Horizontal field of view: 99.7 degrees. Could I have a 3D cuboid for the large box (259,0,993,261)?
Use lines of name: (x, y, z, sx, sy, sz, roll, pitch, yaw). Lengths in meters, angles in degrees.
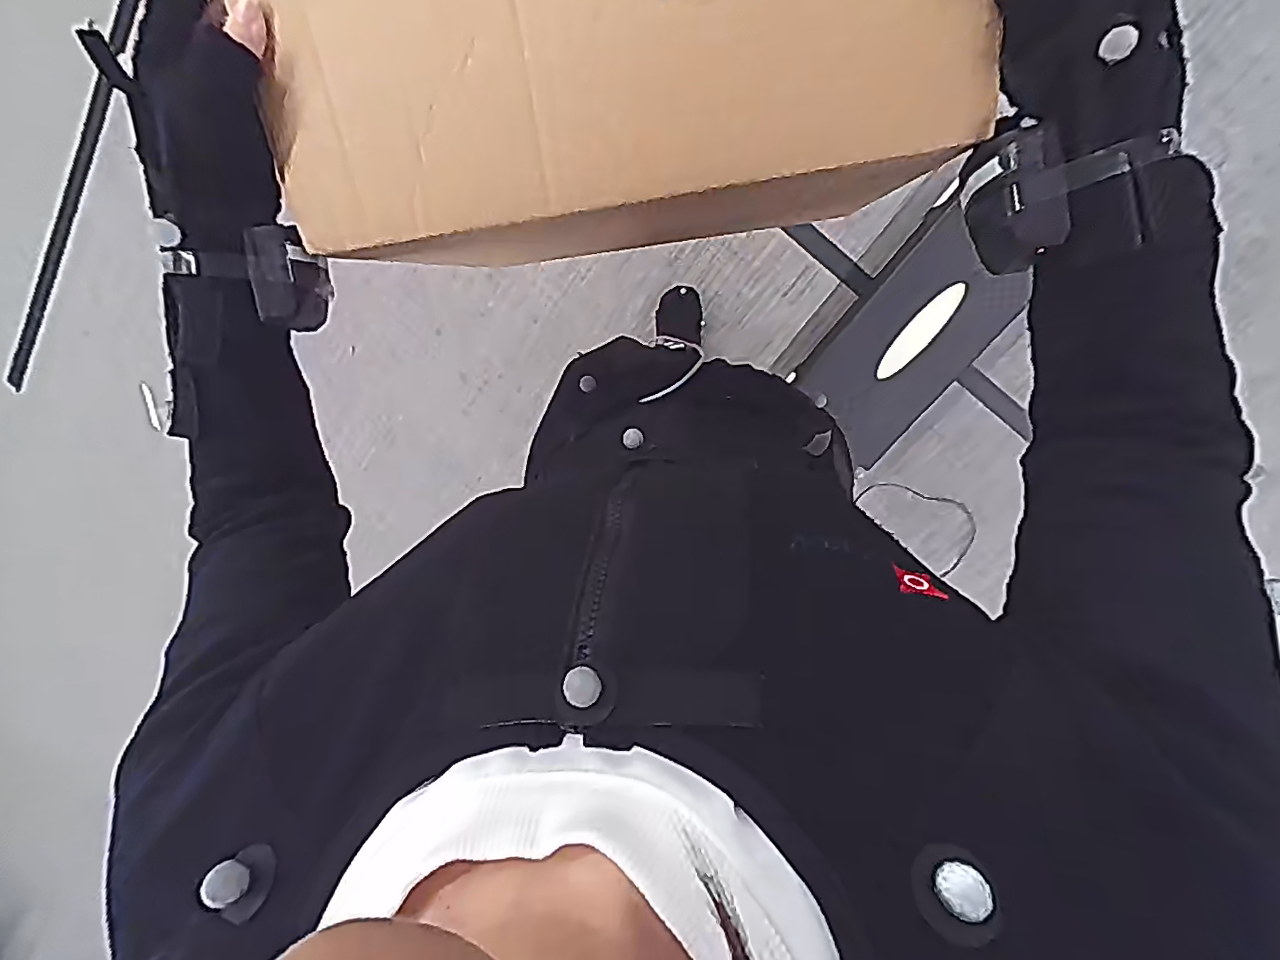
large box: (-0.012, -0.368, 0.415, 0.408, 0.320, 0.320, -5, 110, 9)
